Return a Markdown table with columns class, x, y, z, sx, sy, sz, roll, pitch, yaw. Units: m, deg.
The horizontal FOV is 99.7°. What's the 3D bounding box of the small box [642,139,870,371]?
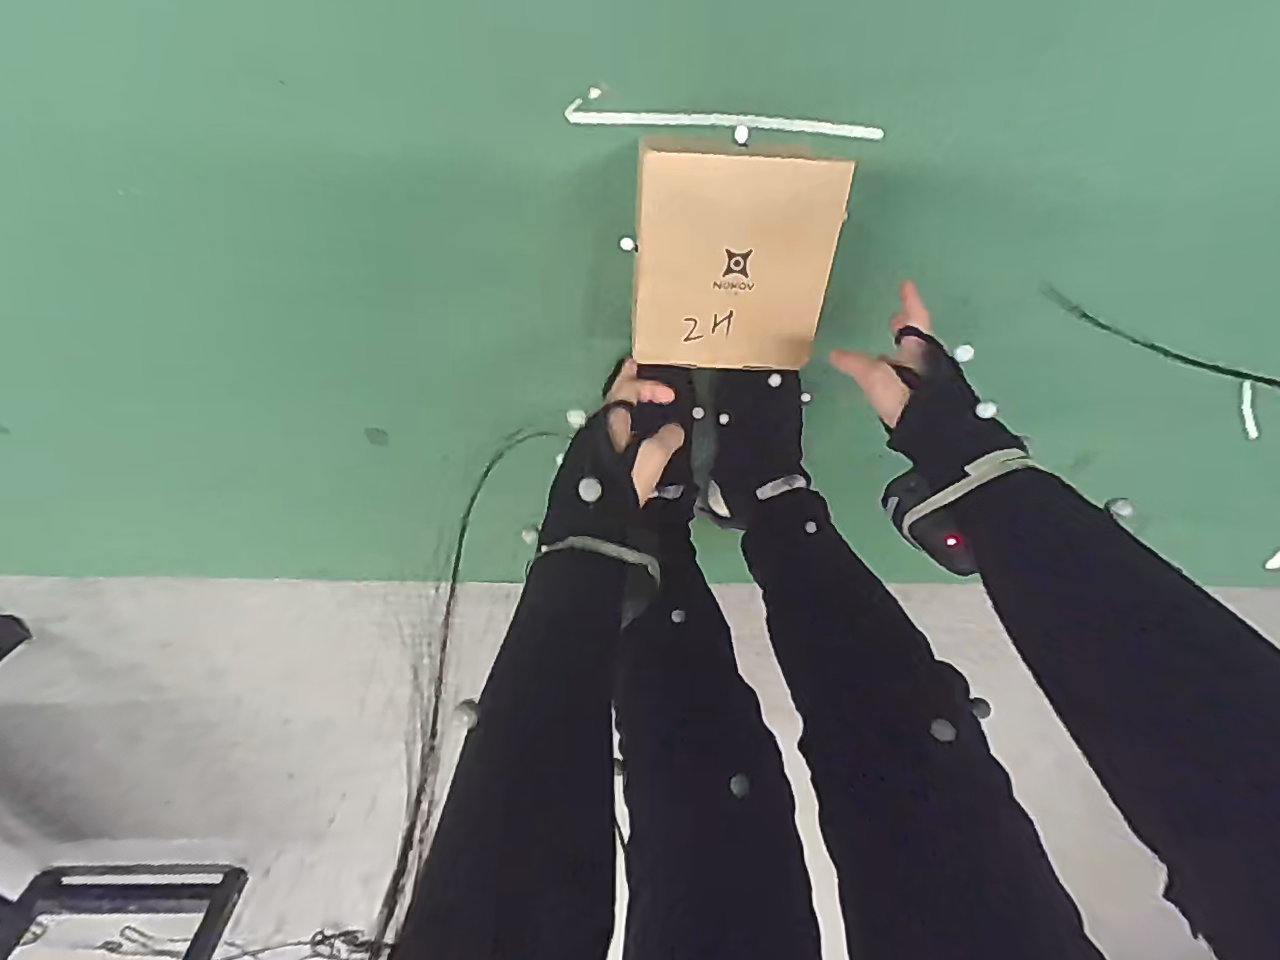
| class | x | y | z | sx | sy | sz | roll | pitch | yaw |
| --- | --- | --- | --- | --- | --- | --- | --- | --- | --- |
| small box | 0.091 | -0.224 | 0.528 | 0.168 | 0.176 | 0.179 | 3 | 124 | -3 |
